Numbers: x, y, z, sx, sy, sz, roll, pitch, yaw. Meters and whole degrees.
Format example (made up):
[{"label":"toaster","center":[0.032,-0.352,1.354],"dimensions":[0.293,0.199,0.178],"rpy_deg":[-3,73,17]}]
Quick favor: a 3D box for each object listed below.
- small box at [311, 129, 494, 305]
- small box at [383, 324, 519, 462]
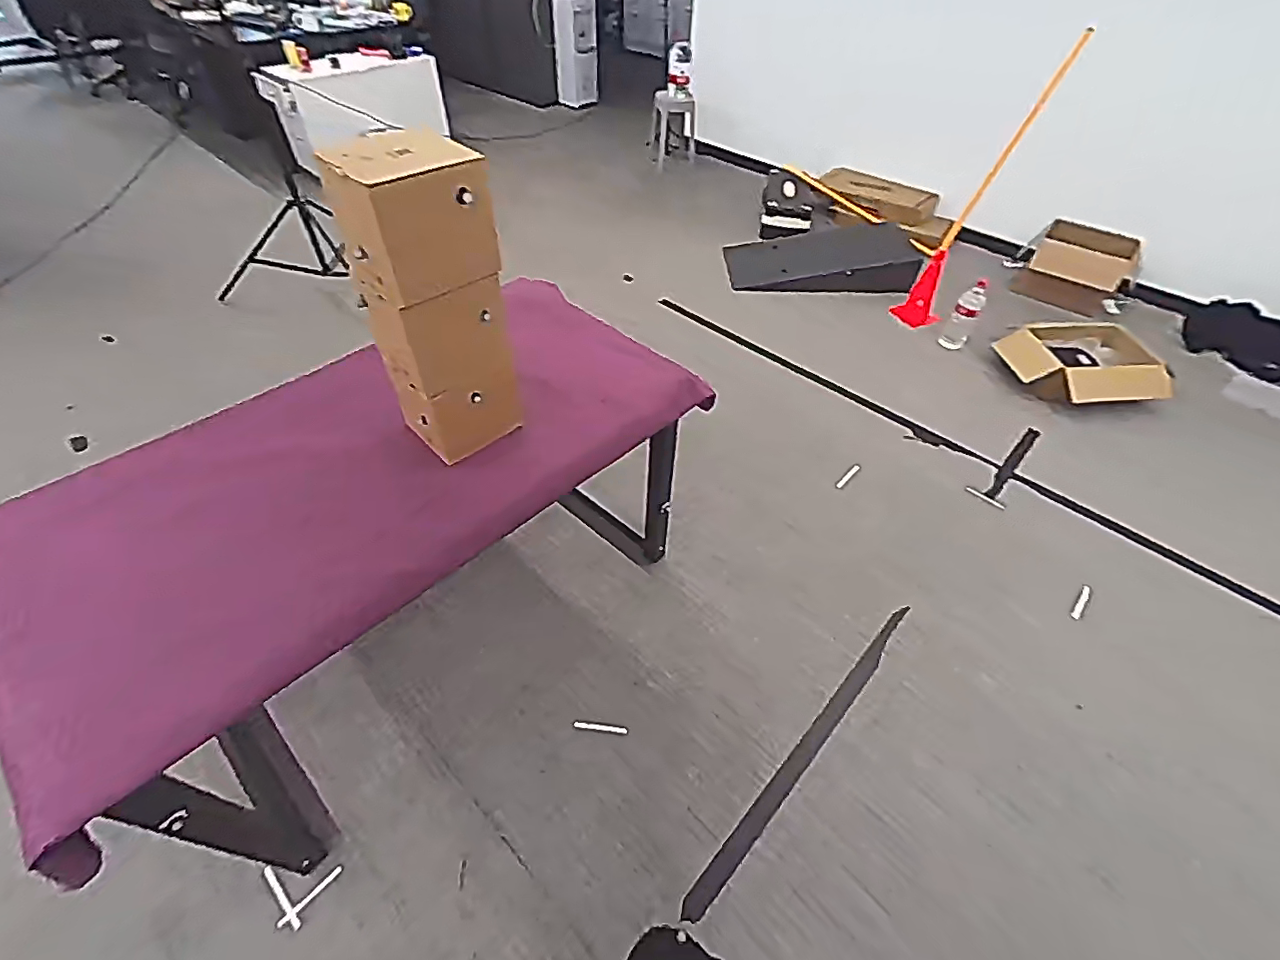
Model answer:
[{"label":"small box","center":[-0.335,-0.389,0.800],"dimensions":[0.168,0.176,0.179],"rpy_deg":[37,57,27]},{"label":"small box","center":[-0.353,-0.165,1.042],"dimensions":[0.179,0.176,0.168],"rpy_deg":[-35,59,-30]}]
